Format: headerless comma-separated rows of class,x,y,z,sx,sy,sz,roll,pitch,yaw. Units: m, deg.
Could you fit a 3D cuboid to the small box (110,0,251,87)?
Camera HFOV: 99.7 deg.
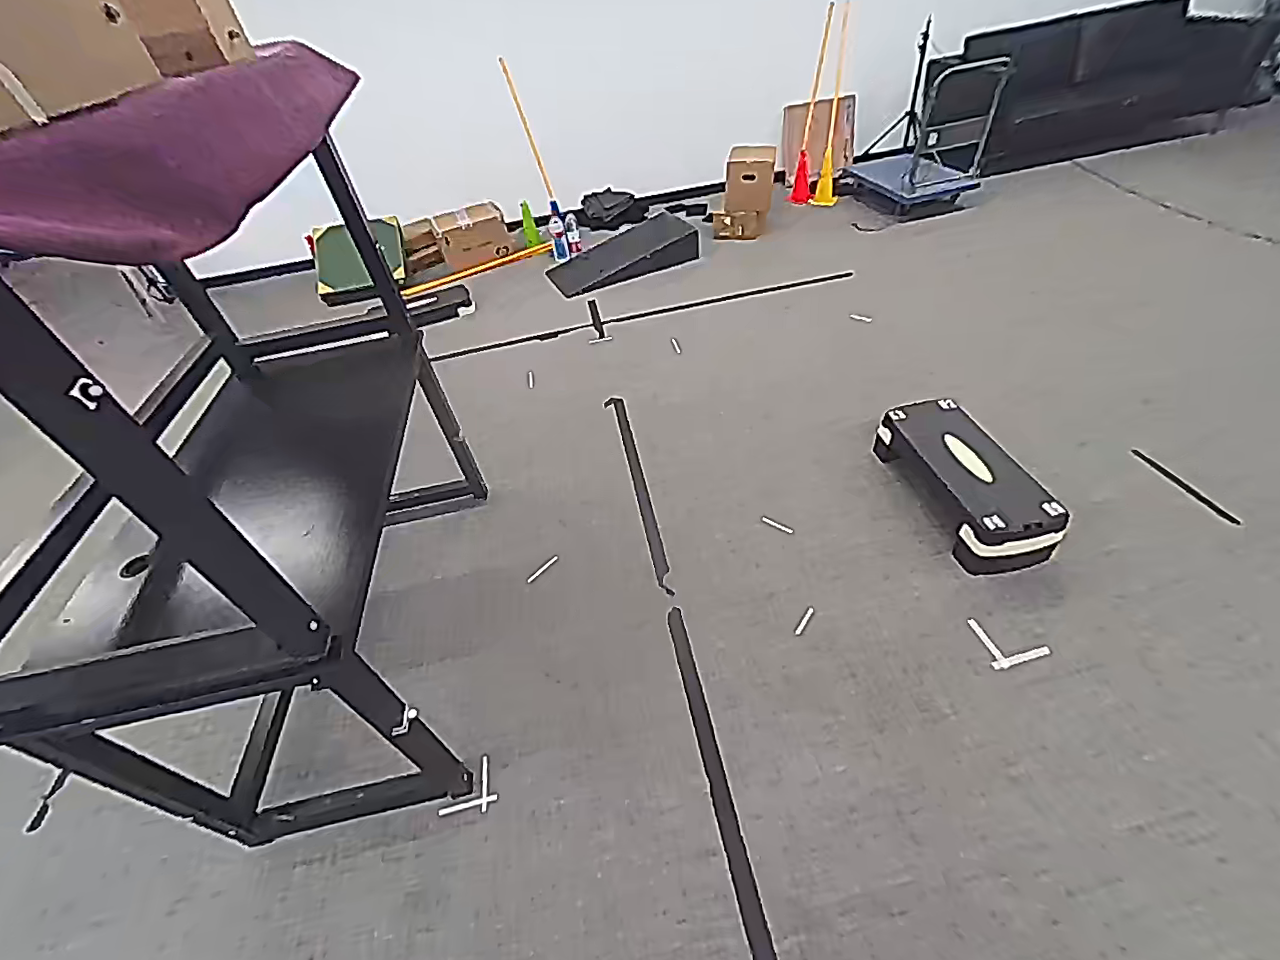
small box,-0.895,-0.875,1.039,0.168,0.176,0.179,-14,43,-4

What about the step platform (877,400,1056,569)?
step platform,1.110,-0.019,1.911,0.286,0.204,0.684,-9,42,1

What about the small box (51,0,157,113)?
small box,-0.857,-0.627,0.774,0.168,0.176,0.179,-12,44,-2
